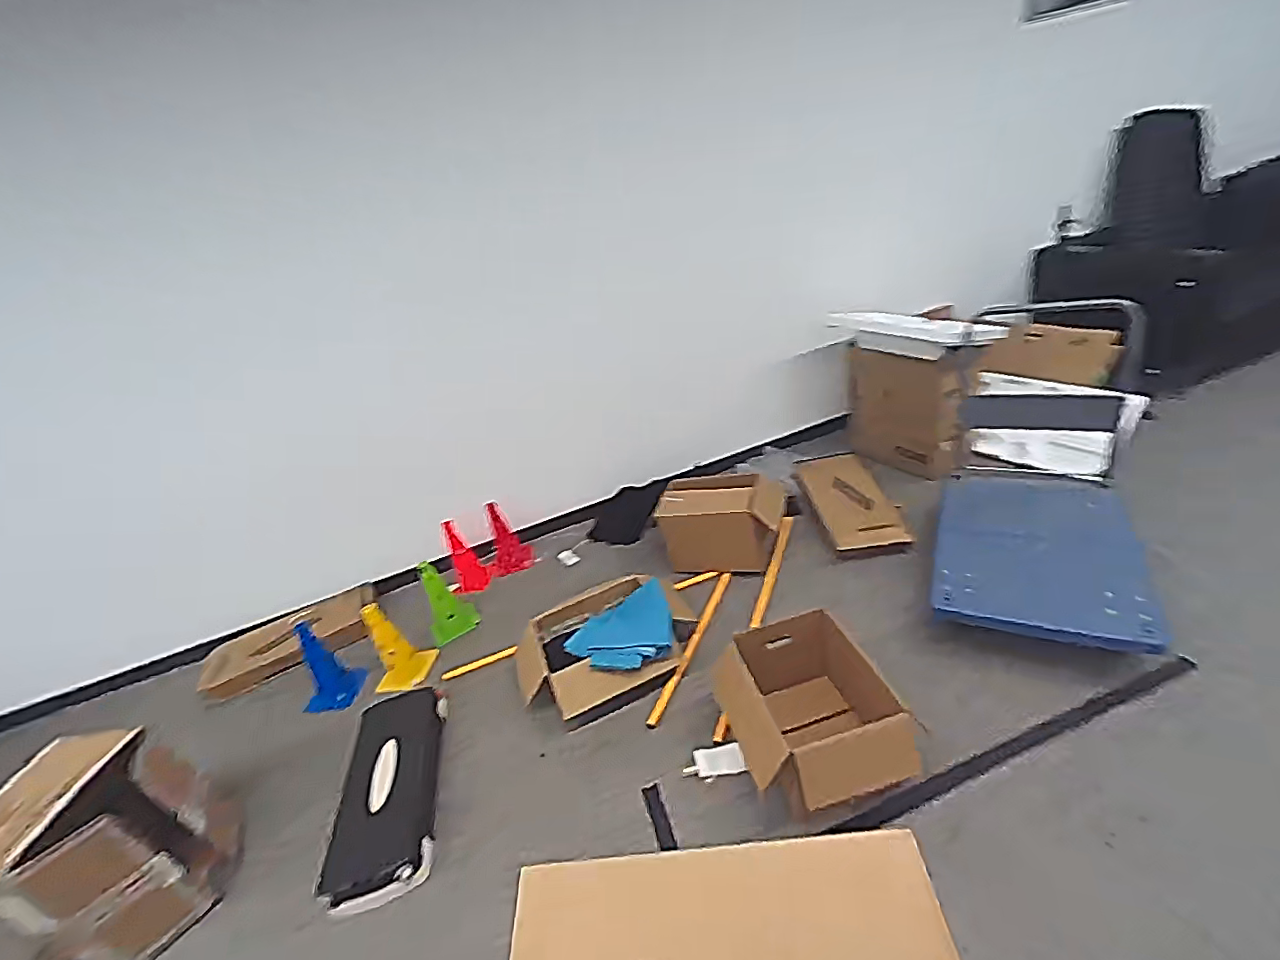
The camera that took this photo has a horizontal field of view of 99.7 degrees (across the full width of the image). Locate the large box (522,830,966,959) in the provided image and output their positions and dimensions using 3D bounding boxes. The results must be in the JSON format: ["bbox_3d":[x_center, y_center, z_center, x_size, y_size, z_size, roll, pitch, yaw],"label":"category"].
[{"bbox_3d":[0.116,0.583,0.530,0.408,0.320,0.320,-11,41,7],"label":"large box"}]
